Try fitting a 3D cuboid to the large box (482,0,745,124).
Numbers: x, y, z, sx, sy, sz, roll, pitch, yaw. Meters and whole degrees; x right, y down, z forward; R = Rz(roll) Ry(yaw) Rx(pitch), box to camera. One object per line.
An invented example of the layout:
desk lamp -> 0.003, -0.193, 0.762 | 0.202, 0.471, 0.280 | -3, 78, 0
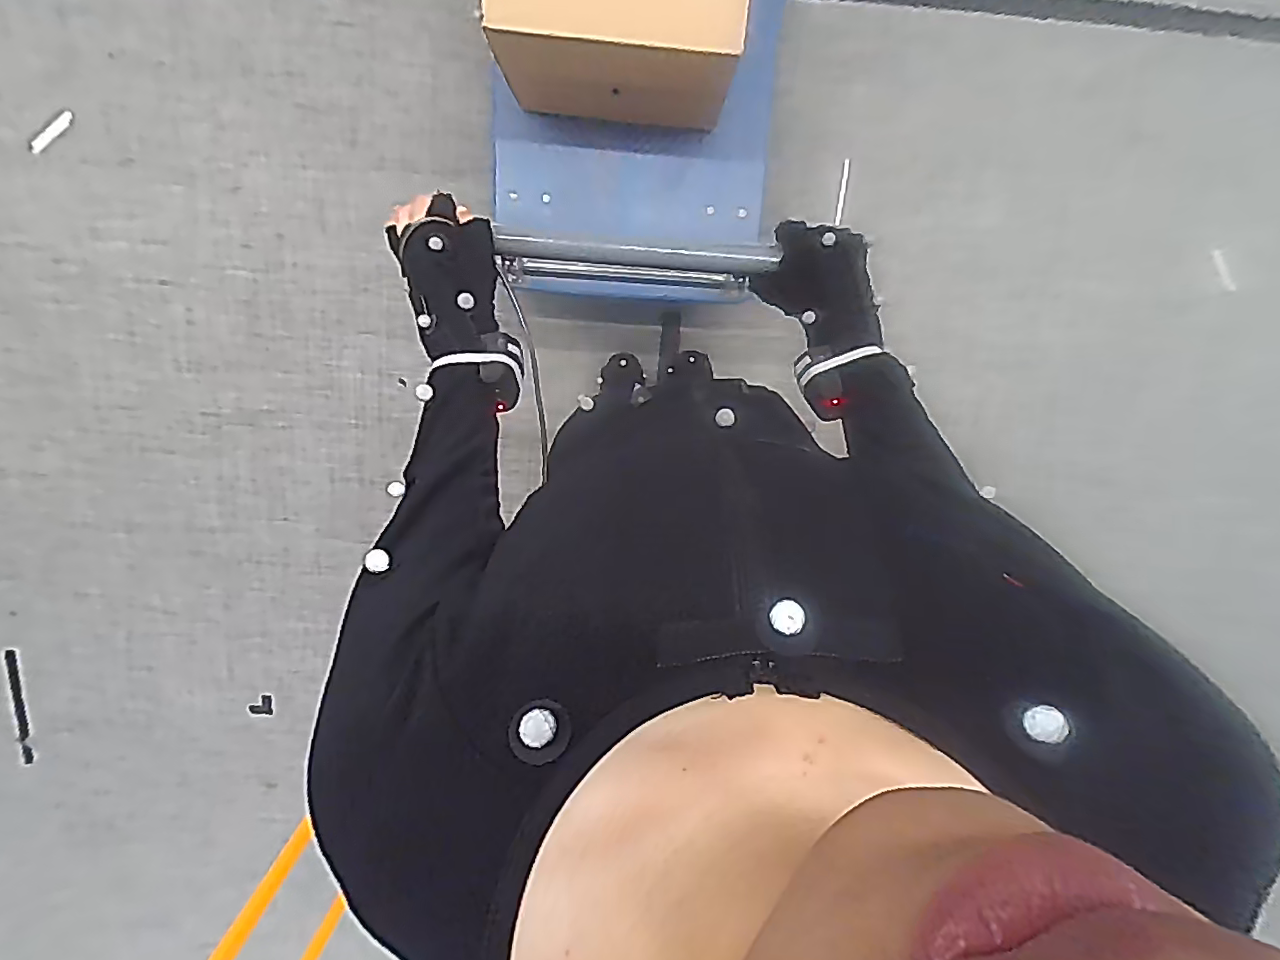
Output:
large box -> -0.033, -0.859, 0.942 | 0.408, 0.320, 0.320 | 4, 104, -2
